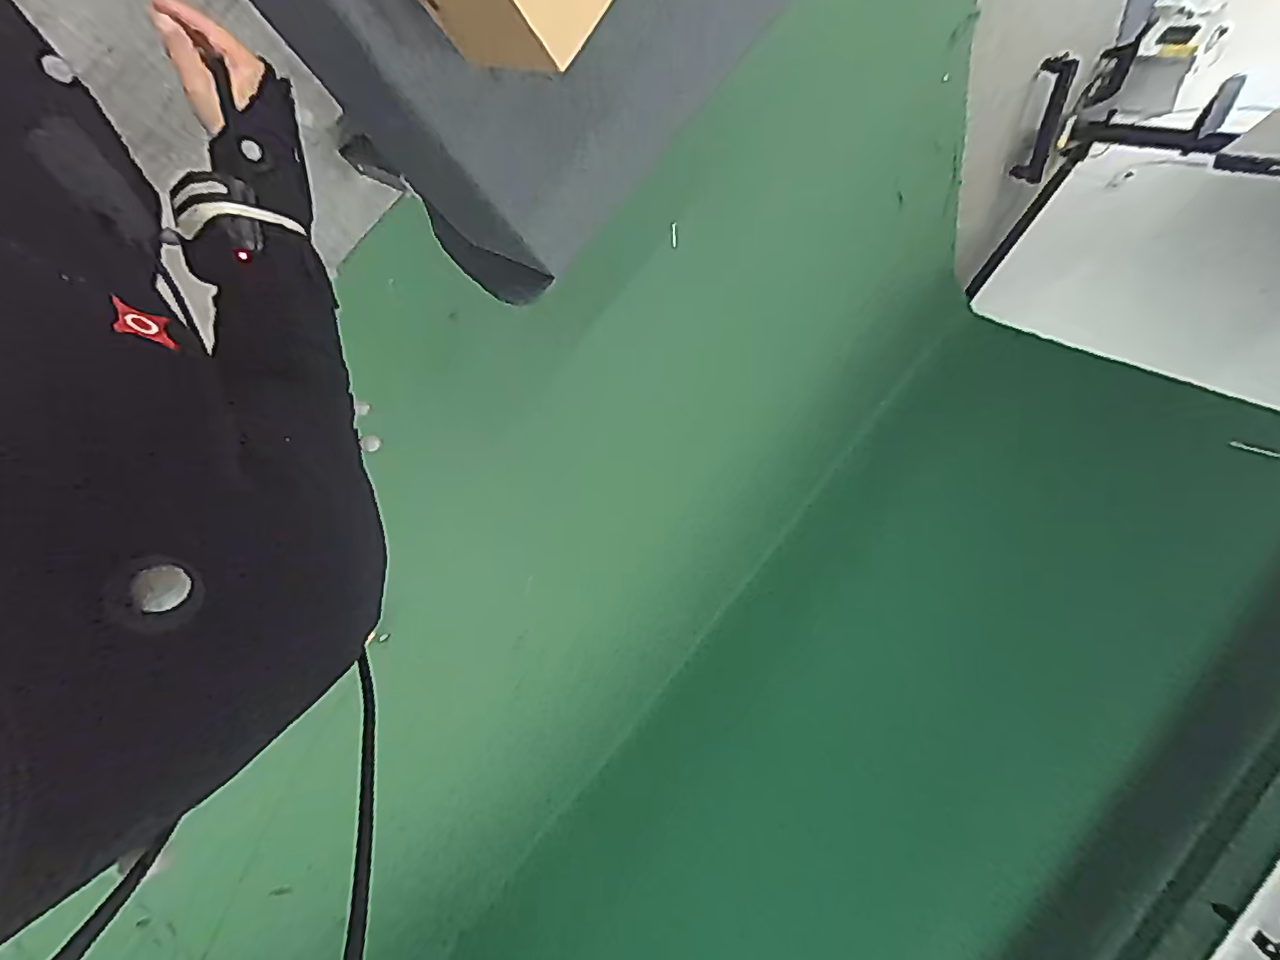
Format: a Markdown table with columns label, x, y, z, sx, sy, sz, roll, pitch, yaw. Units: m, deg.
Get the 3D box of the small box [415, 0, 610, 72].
| label | x | y | z | sx | sy | sz | roll | pitch | yaw |
| --- | --- | --- | --- | --- | --- | --- | --- | --- | --- |
| small box | -0.111 | -0.474 | 0.428 | 0.179 | 0.176 | 0.168 | -55 | 144 | 4 |
